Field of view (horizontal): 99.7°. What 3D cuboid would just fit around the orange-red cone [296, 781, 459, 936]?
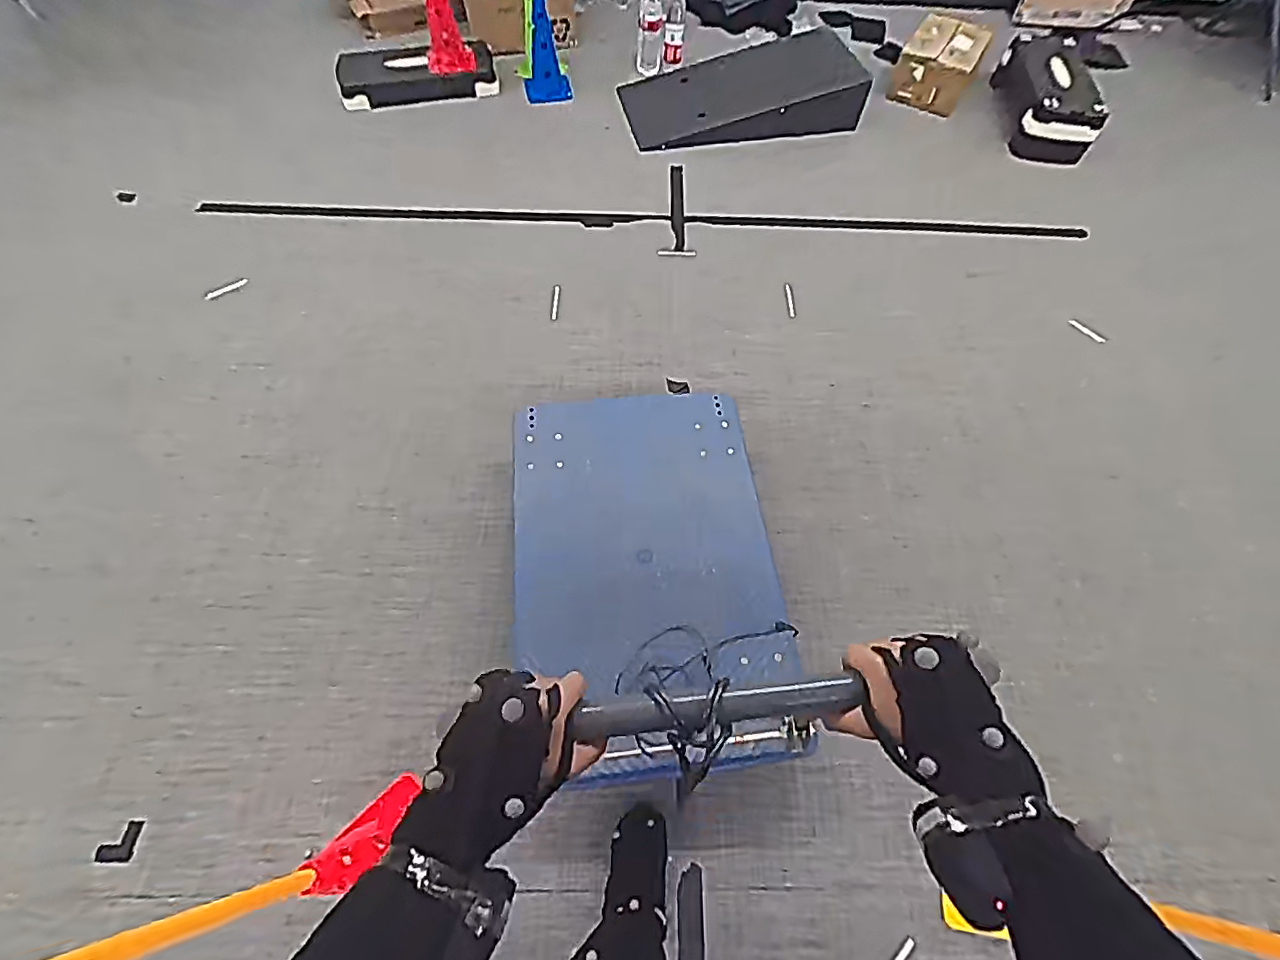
[{"bbox_3d":[-0.473,0.648,0.909,0.199,0.360,0.198,-39,70,-23],"label":"orange-red cone"}]
